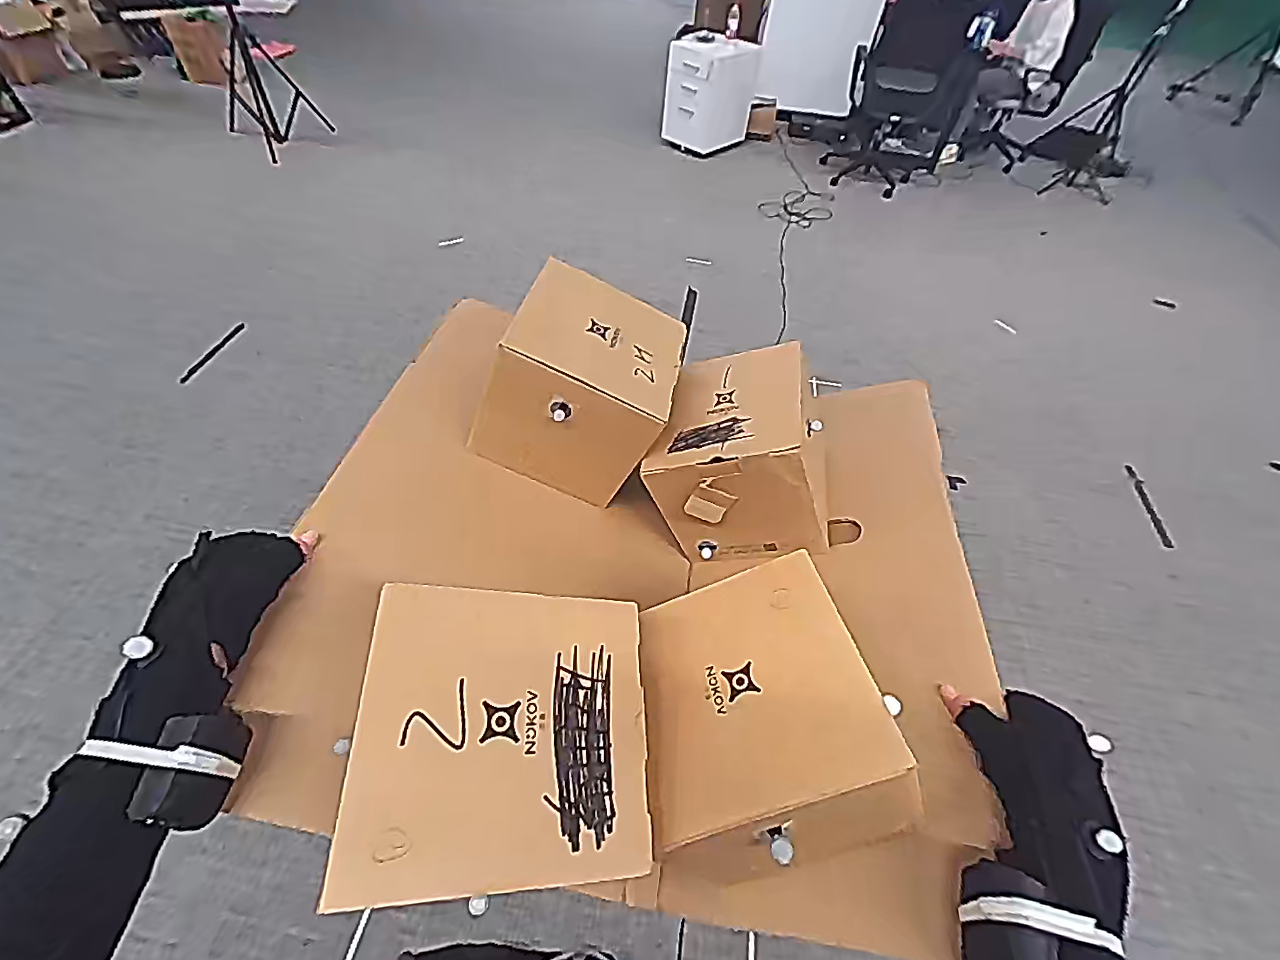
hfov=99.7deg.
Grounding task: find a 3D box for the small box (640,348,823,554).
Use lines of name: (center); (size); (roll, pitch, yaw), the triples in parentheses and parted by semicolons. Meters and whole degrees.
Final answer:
small box: (0.119, -0.024, 0.641); (0.168, 0.176, 0.179); (-7, 45, 24)
